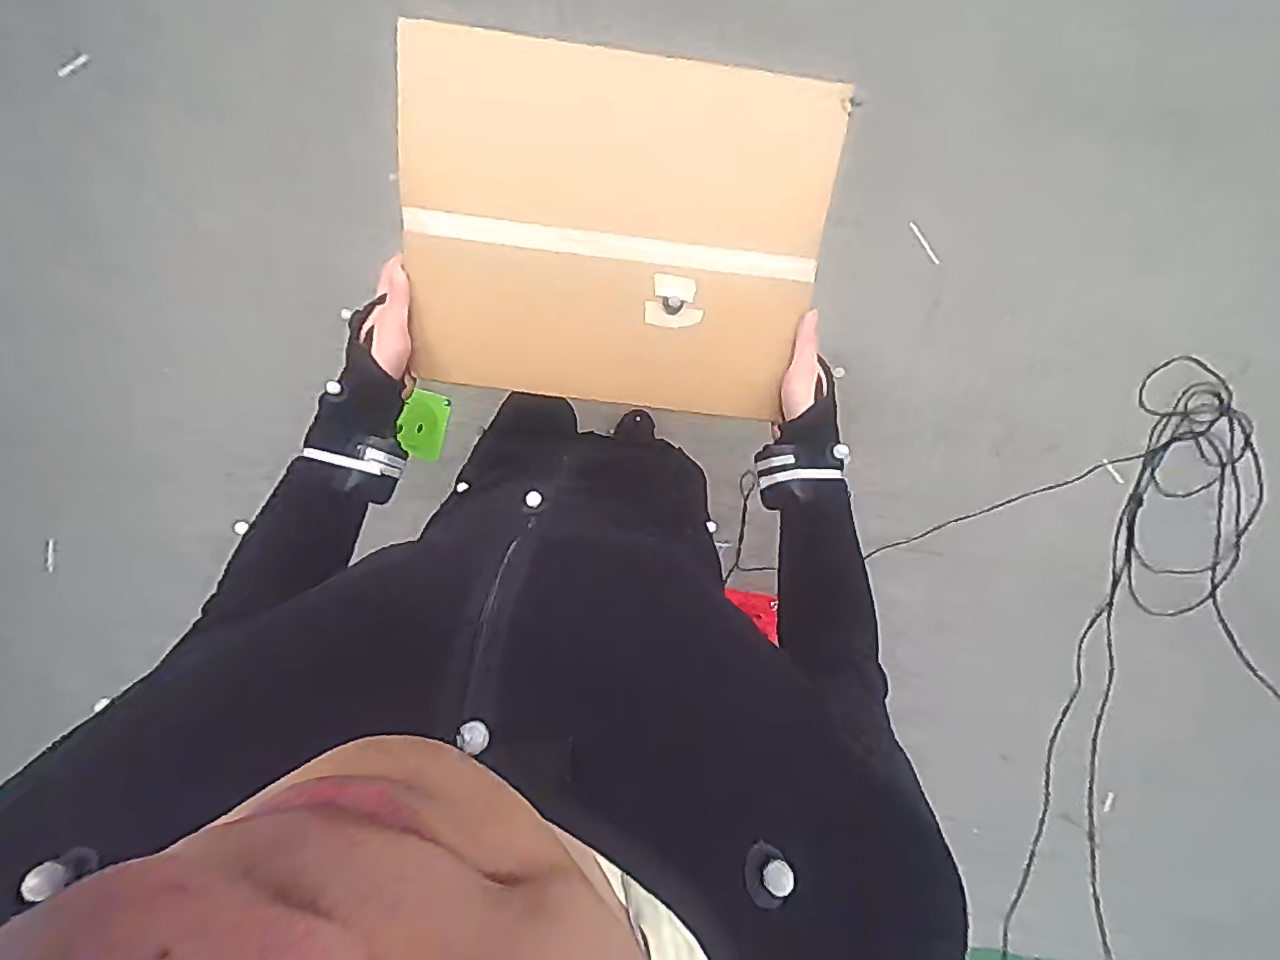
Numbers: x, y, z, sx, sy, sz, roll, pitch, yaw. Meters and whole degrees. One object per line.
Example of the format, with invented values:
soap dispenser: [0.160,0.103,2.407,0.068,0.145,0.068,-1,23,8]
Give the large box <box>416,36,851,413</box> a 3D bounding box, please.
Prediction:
large box: [-0.021,-0.285,0.677,0.408,0.320,0.320,6,112,-3]

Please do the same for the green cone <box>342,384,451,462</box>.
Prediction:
green cone: [-0.676,-0.140,1.436,0.200,0.368,0.202,15,99,-1]
